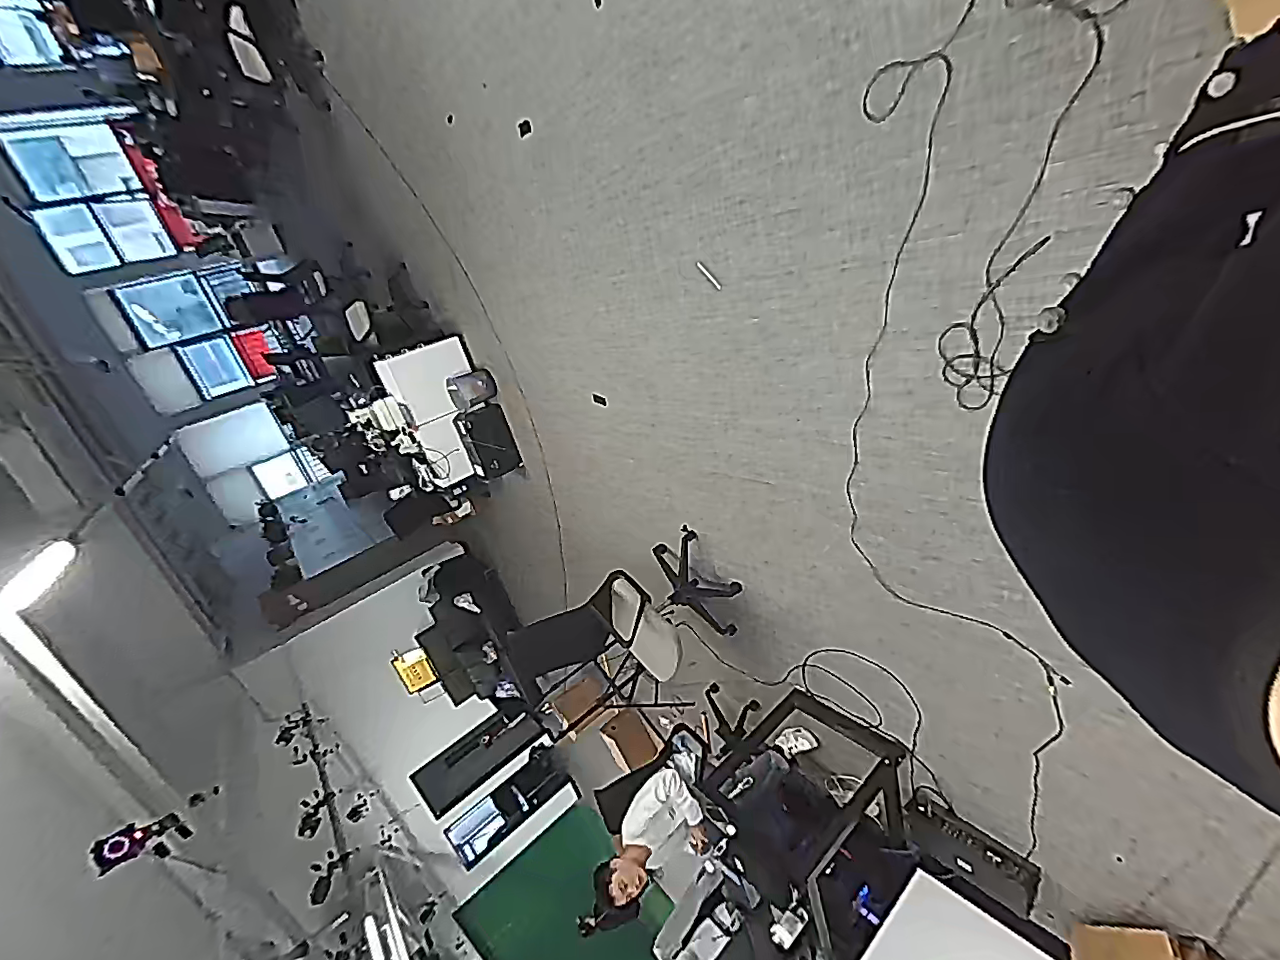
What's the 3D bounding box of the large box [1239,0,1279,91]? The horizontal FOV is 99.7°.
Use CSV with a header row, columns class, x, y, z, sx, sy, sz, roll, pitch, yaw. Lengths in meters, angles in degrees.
class,x,y,z,sx,sy,sz,roll,pitch,yaw
large box,0.984,-0.726,0.606,0.408,0.320,0.320,-5,111,58
